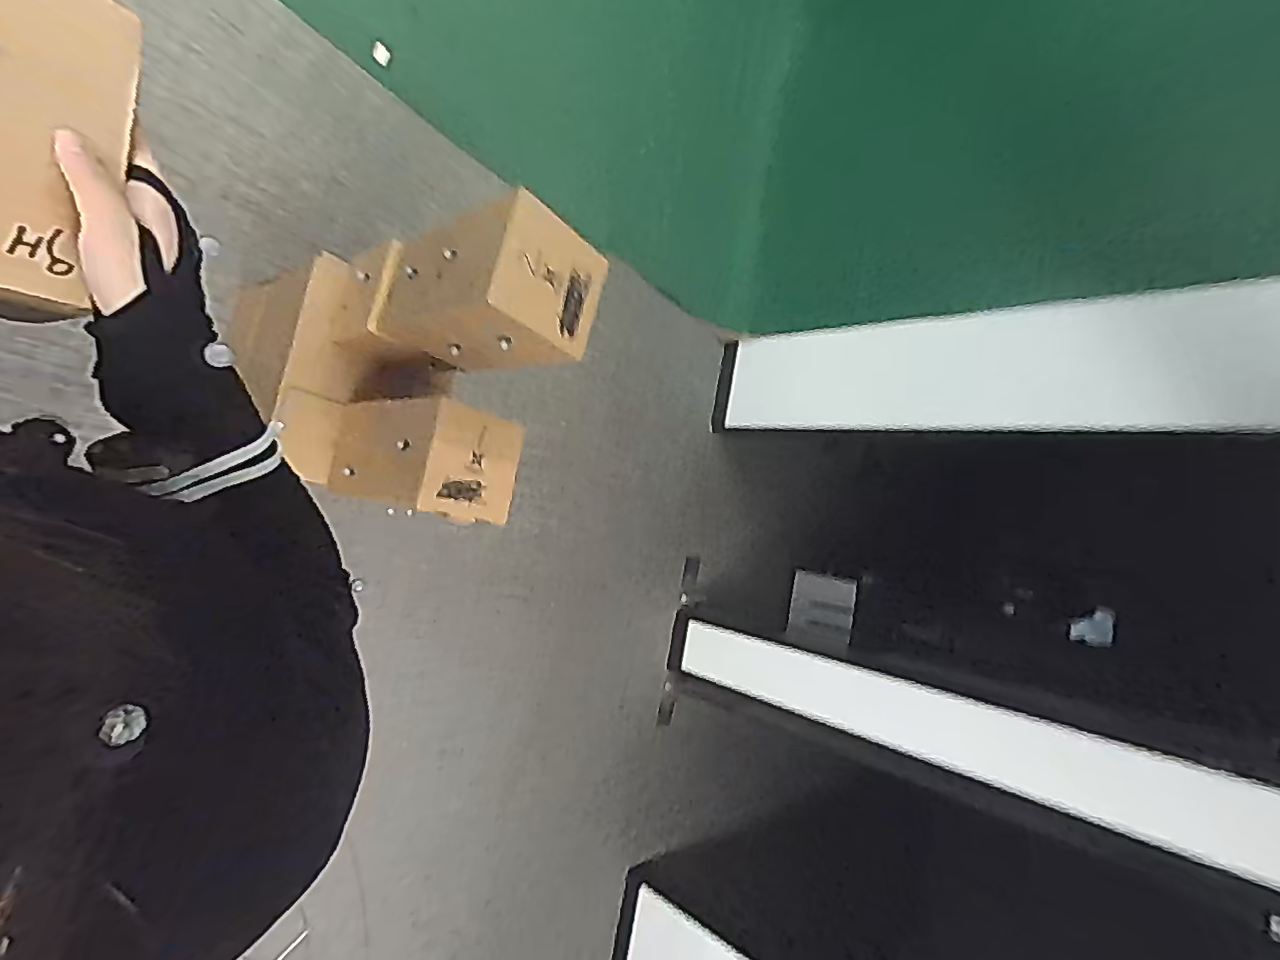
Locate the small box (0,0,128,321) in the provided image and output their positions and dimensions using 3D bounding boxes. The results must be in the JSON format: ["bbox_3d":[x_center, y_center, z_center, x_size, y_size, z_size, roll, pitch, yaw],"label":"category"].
[{"bbox_3d":[-0.417,-0.195,0.286,0.168,0.176,0.179,6,91,-58],"label":"small box"}]

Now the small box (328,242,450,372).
[{"bbox_3d":[-0.447,-0.307,1.008,0.179,0.176,0.168,22,78,-50],"label":"small box"}]

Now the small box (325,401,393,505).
[{"bbox_3d":[-0.465,-0.038,1.019,0.168,0.176,0.179,19,78,-51],"label":"small box"}]

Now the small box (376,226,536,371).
[{"bbox_3d":[-0.312,-0.290,0.915,0.179,0.176,0.168,24,77,-49],"label":"small box"}]

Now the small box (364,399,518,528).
[{"bbox_3d":[-0.339,-0.025,0.916,0.168,0.176,0.179,20,76,-50],"label":"small box"}]
